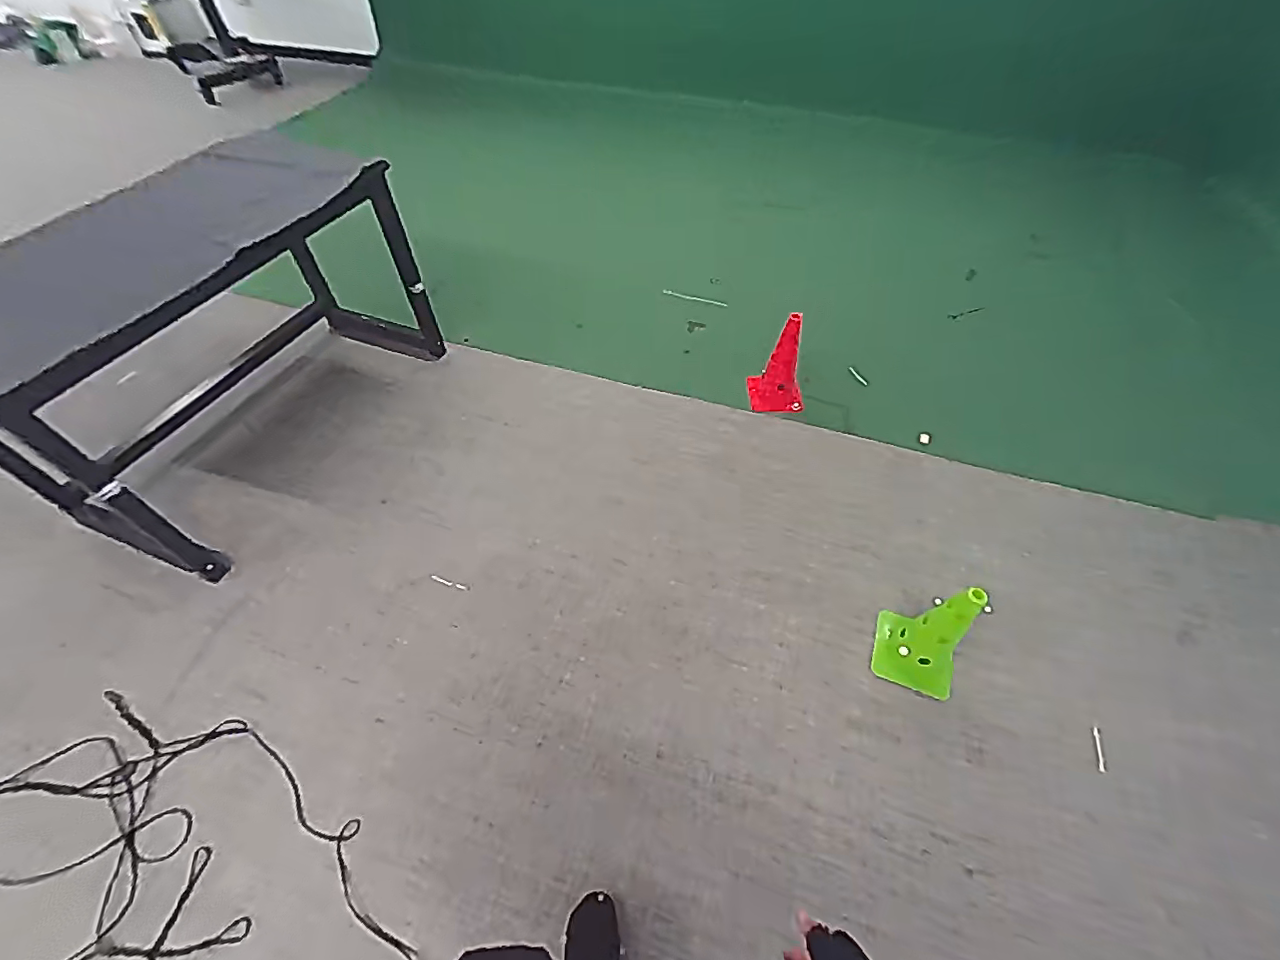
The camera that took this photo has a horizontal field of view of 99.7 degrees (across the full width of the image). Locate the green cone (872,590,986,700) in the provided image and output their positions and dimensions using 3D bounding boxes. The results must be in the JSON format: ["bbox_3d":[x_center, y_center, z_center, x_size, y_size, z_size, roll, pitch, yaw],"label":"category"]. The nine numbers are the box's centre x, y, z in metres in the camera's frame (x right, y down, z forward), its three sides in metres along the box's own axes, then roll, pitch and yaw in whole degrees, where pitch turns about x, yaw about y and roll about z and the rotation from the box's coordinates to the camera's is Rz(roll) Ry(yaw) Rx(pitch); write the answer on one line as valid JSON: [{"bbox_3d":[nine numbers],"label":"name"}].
[{"bbox_3d":[0.743,0.367,1.338,0.200,0.368,0.202,17,53,13],"label":"green cone"}]
